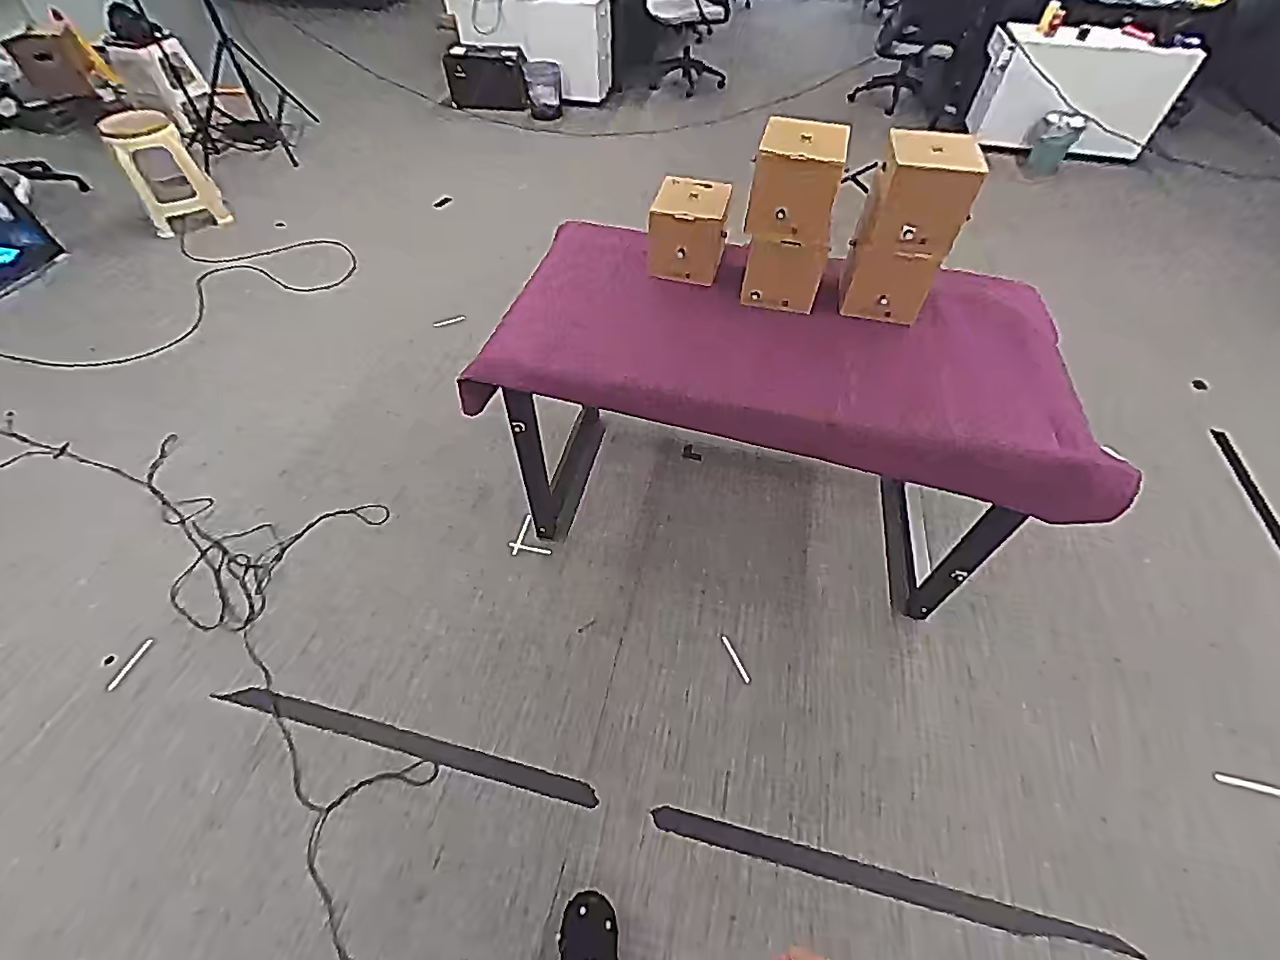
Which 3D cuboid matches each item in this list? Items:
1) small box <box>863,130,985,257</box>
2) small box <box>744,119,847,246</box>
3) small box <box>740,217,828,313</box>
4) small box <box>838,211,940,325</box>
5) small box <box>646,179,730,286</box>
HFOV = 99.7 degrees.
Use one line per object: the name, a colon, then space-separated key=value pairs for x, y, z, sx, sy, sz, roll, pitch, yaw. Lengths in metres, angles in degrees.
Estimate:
small box: x=0.569 y=-0.588 z=1.113 sx=0.168 sy=0.176 sz=0.179 roll=9 pitch=54 yaw=6
small box: x=0.321 y=-0.620 z=1.132 sx=0.168 sy=0.176 sz=0.179 roll=13 pitch=54 yaw=8
small box: x=0.331 y=-0.513 z=1.256 sx=0.168 sy=0.176 sz=0.179 roll=11 pitch=53 yaw=7
small box: x=0.560 y=-0.485 z=1.239 sx=0.168 sy=0.176 sz=0.179 roll=11 pitch=53 yaw=8
small box: x=0.115 y=-0.599 z=1.315 sx=0.168 sy=0.176 sz=0.179 roll=13 pitch=55 yaw=8
